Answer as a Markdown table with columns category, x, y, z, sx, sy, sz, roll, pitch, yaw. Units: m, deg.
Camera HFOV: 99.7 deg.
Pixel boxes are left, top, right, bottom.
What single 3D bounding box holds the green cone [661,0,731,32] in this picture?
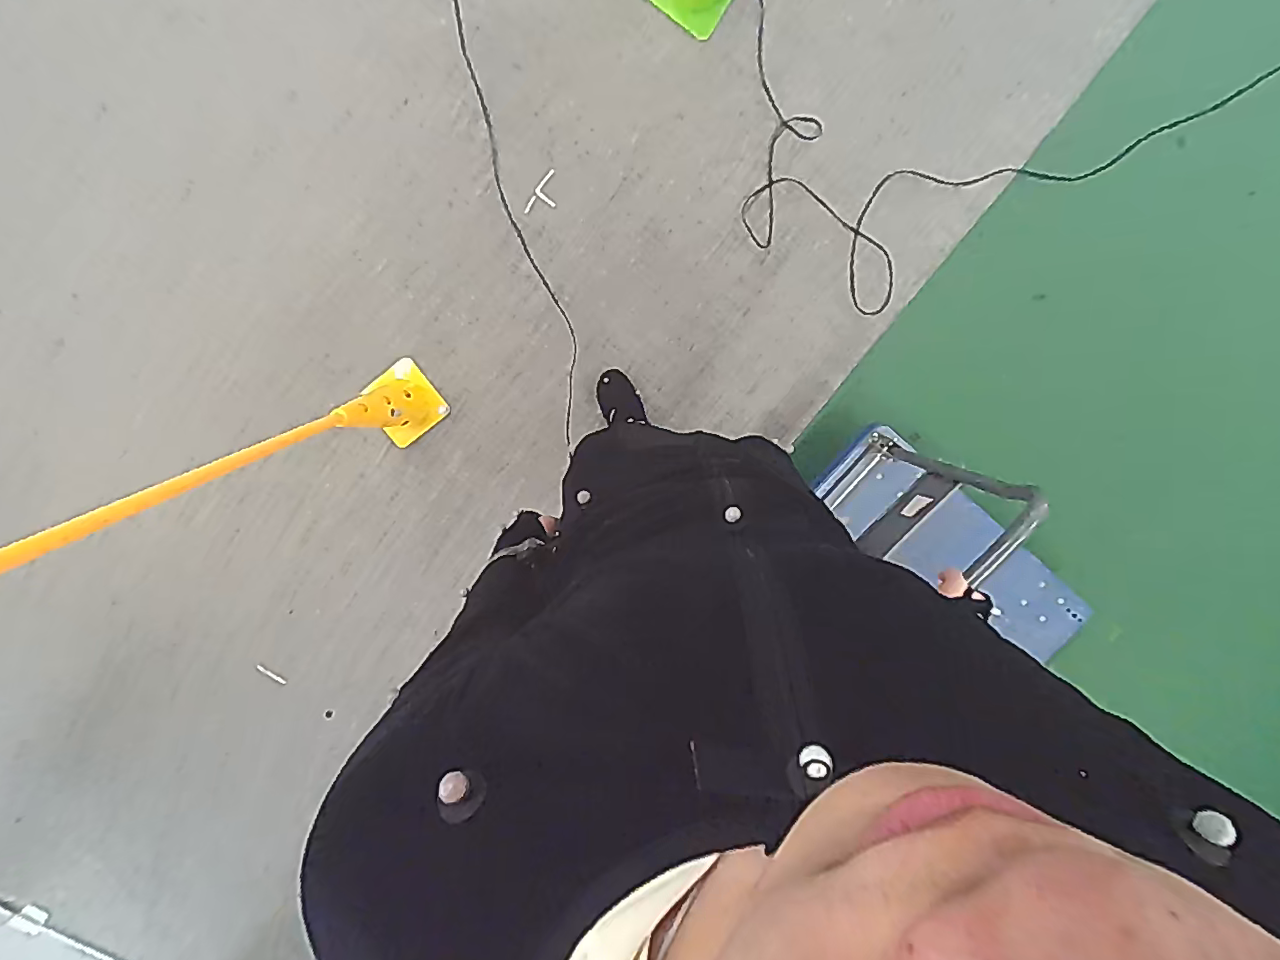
| category | x | y | z | sx | sy | sz | roll | pitch | yaw |
| --- | --- | --- | --- | --- | --- | --- | --- | --- | --- |
| green cone | 0.144 | -1.200 | 1.148 | 0.200 | 0.368 | 0.202 | 33 | 100 | -7 |
